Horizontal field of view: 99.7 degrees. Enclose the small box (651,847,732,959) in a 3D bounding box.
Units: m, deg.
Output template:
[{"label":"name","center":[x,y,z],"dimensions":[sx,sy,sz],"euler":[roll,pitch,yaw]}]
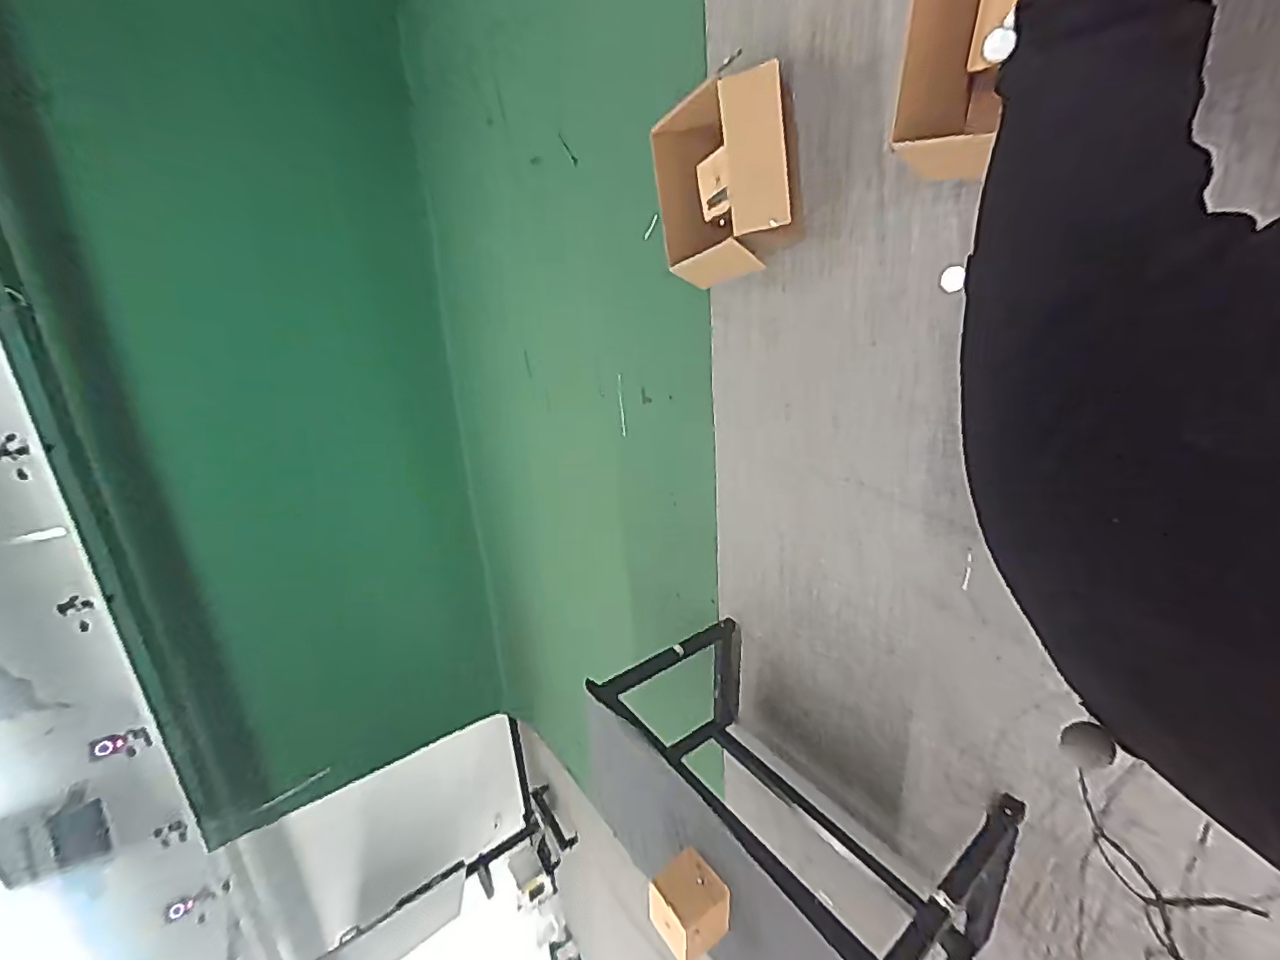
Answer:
[{"label":"small box","center":[0.149,1.222,1.556],"dimensions":[0.168,0.176,0.179],"euler":[23,121,49]}]
